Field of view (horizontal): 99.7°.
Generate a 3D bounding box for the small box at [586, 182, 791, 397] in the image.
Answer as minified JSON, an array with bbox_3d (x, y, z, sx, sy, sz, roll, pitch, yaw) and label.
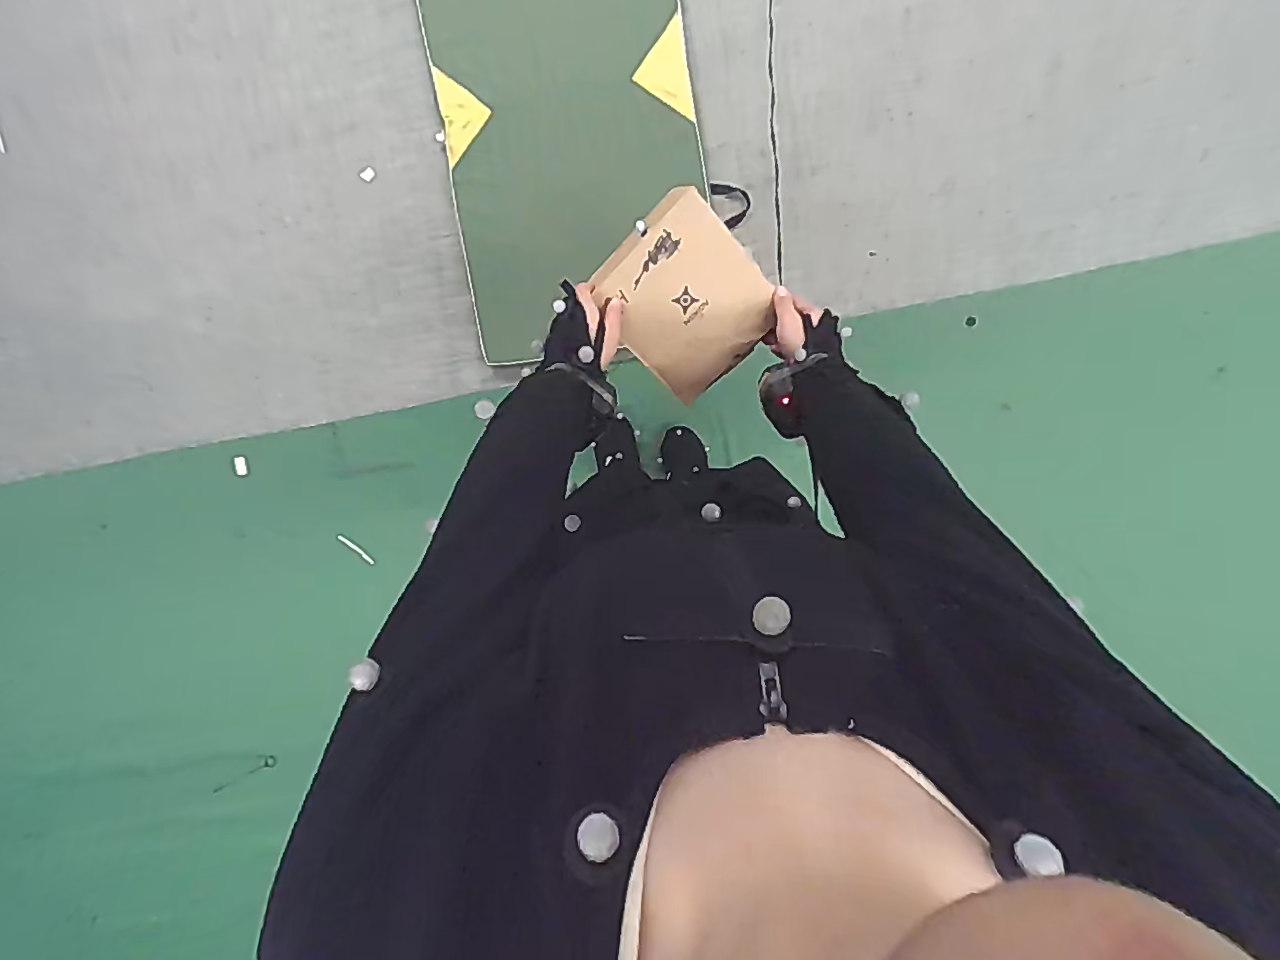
[{"bbox_3d":[0.053,-0.241,0.671,0.168,0.176,0.179,-41,113,17],"label":"small box"}]
